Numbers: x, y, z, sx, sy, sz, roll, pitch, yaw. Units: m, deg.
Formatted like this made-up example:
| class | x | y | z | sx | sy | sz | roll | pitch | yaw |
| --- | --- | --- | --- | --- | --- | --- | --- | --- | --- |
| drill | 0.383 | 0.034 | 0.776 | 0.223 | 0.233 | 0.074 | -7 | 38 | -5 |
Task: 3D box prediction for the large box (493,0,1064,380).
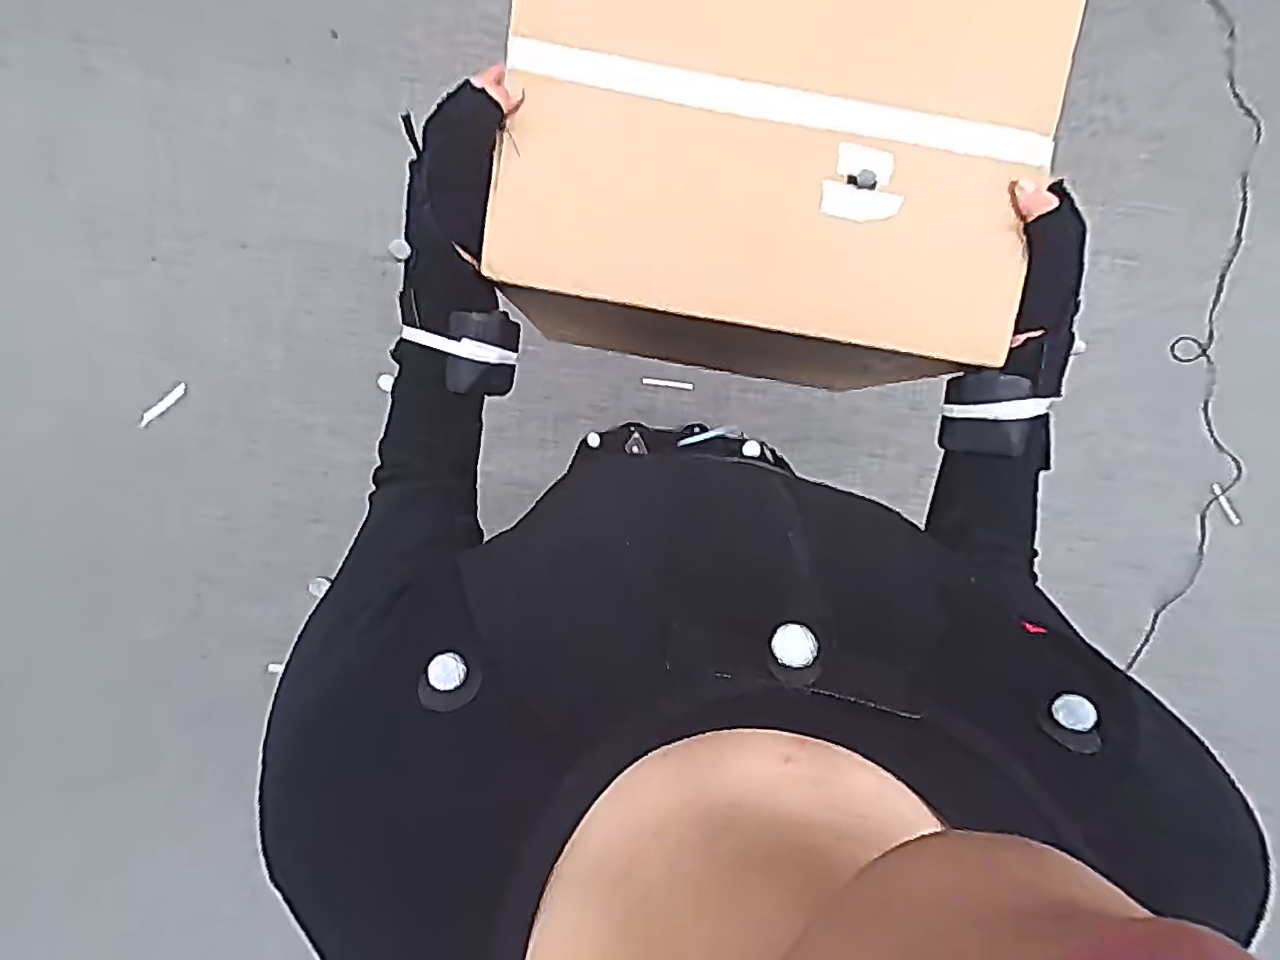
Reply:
| class | x | y | z | sx | sy | sz | roll | pitch | yaw |
| --- | --- | --- | --- | --- | --- | --- | --- | --- | --- |
| large box | 0.098 | -0.295 | 0.555 | 0.408 | 0.320 | 0.320 | 9 | 97 | -3 |
